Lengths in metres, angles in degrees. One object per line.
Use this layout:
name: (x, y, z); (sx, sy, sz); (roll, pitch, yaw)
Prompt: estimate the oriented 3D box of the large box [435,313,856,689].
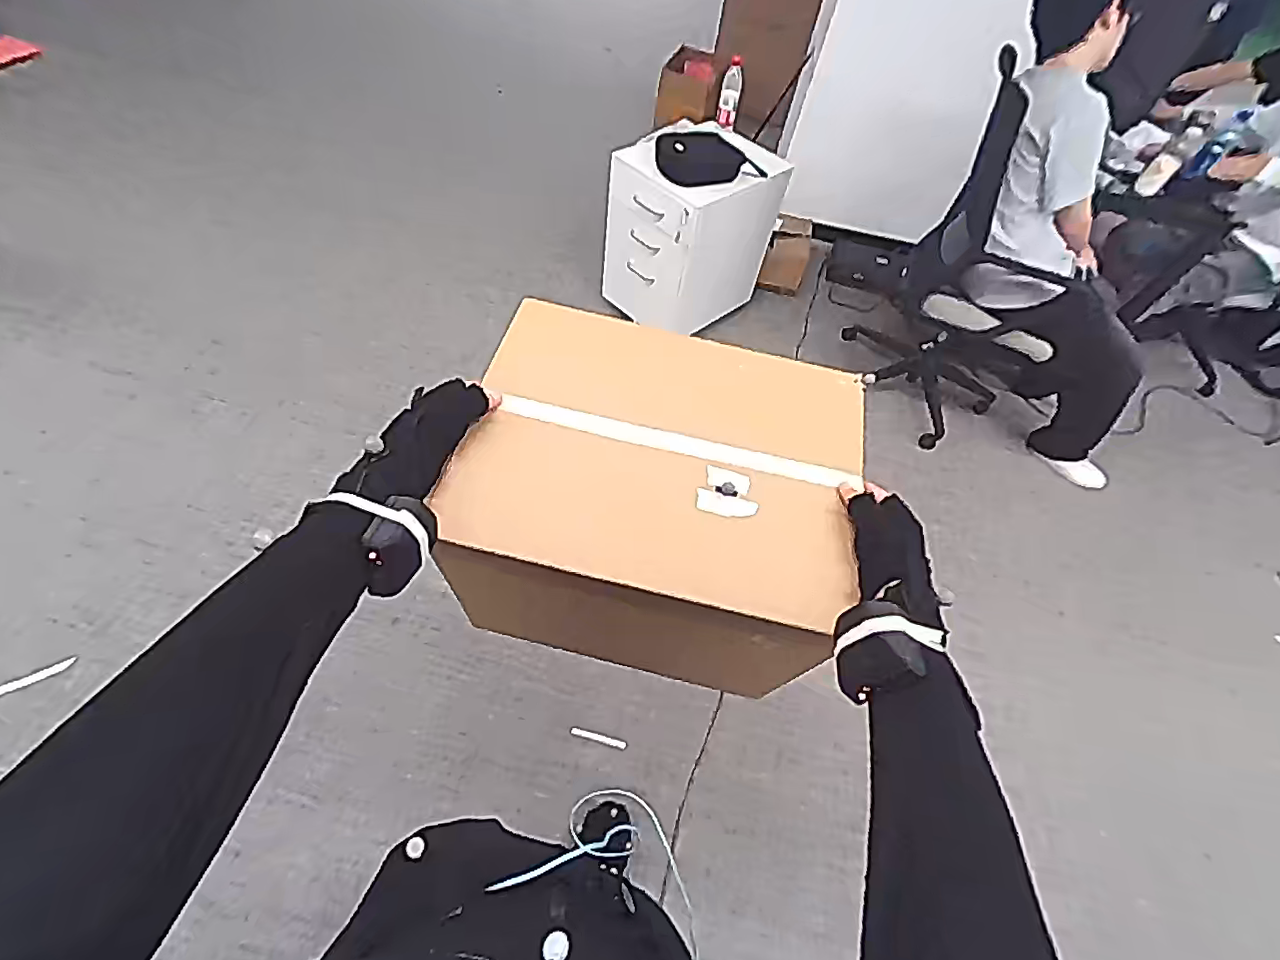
large box: (0.015, 0.044, 0.695); (0.408, 0.320, 0.320); (14, 60, 1)
